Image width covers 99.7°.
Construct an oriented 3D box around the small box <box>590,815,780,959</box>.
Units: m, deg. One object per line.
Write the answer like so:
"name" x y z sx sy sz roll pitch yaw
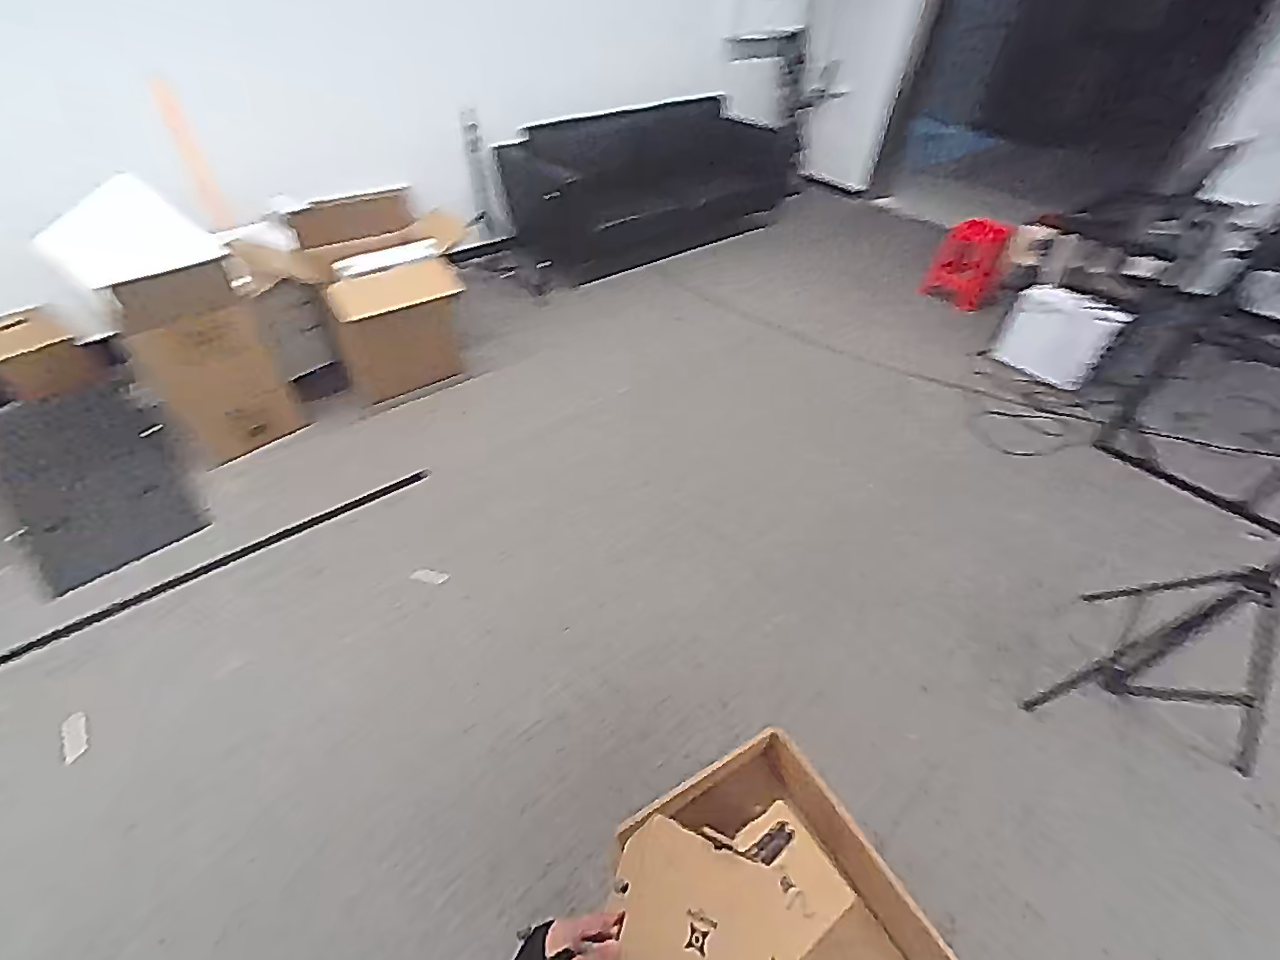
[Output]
"small box" 0.045 0.539 0.636 0.168 0.176 0.179 23 44 5
